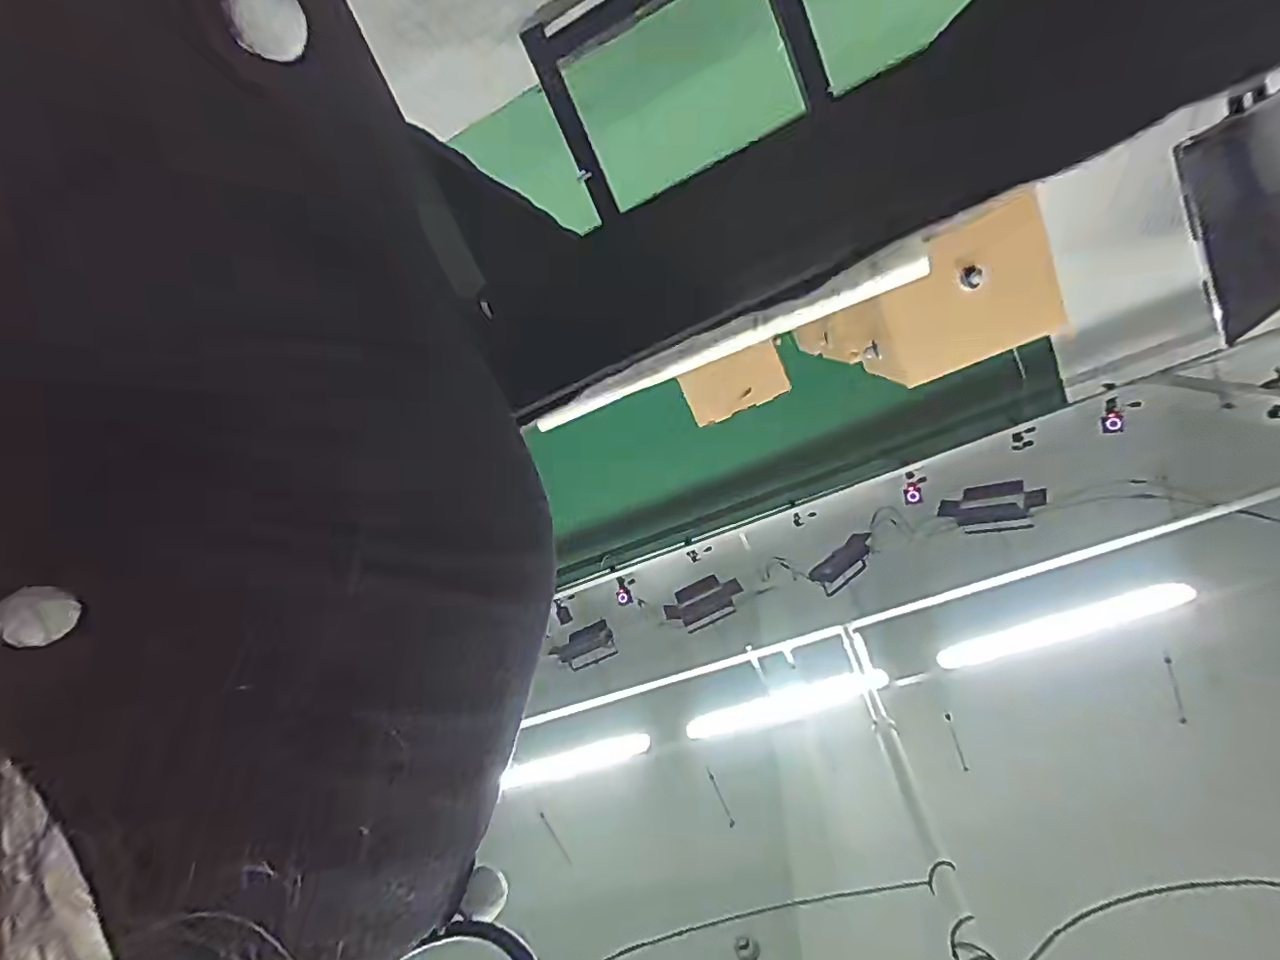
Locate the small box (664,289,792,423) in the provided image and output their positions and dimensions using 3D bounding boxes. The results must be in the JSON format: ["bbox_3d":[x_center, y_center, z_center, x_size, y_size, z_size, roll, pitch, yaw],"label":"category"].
[{"bbox_3d":[0.154,-0.225,0.954,0.168,0.176,0.179,-22,-166,17],"label":"small box"}]
